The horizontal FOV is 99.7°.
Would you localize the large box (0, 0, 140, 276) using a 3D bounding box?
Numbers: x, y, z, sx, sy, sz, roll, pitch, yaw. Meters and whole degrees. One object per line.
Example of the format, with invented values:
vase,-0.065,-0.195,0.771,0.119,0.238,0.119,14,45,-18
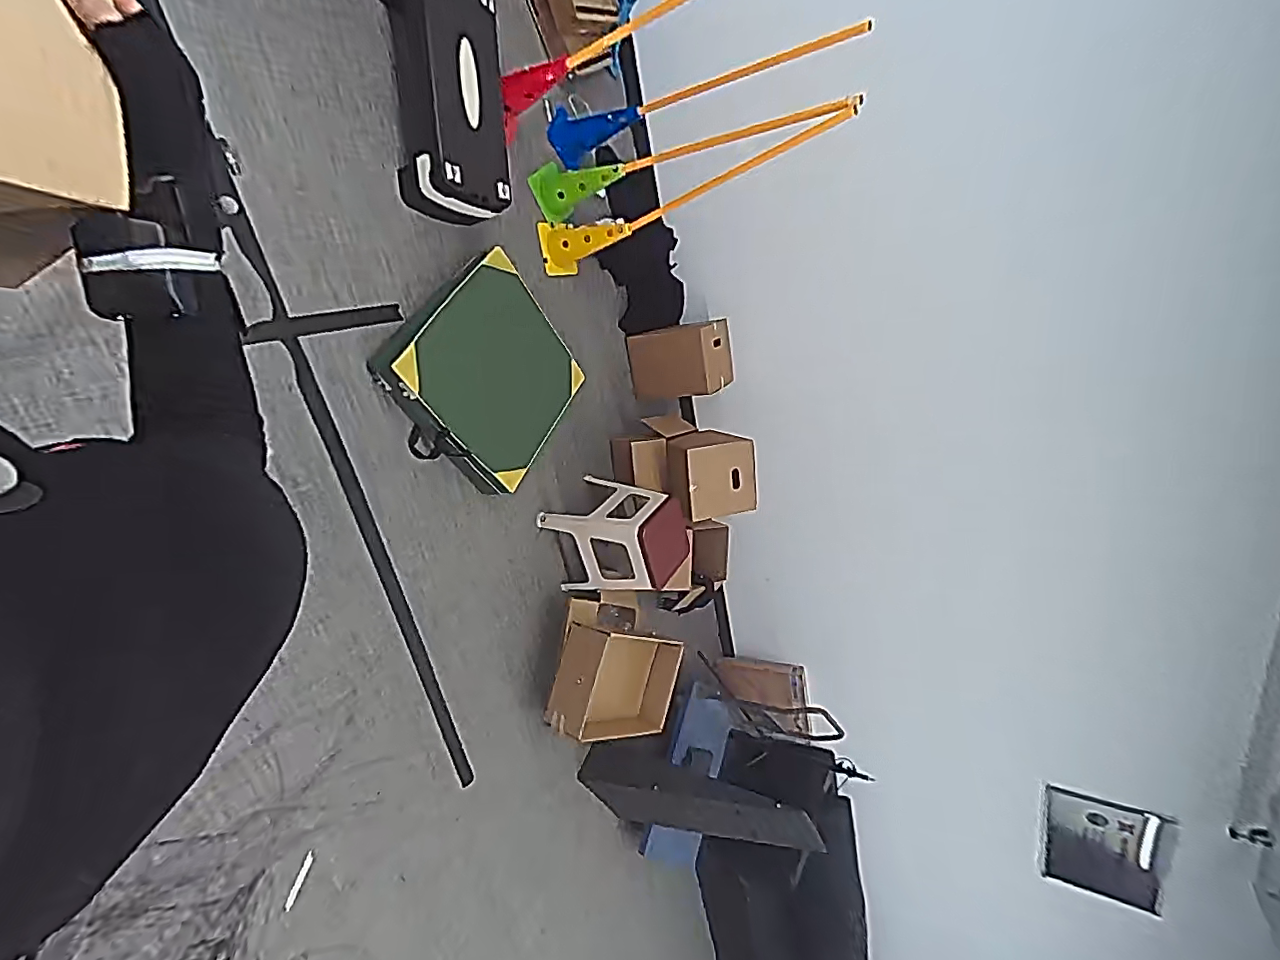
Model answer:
large box,-0.584,-0.326,0.271,0.408,0.320,0.320,-9,100,-59
